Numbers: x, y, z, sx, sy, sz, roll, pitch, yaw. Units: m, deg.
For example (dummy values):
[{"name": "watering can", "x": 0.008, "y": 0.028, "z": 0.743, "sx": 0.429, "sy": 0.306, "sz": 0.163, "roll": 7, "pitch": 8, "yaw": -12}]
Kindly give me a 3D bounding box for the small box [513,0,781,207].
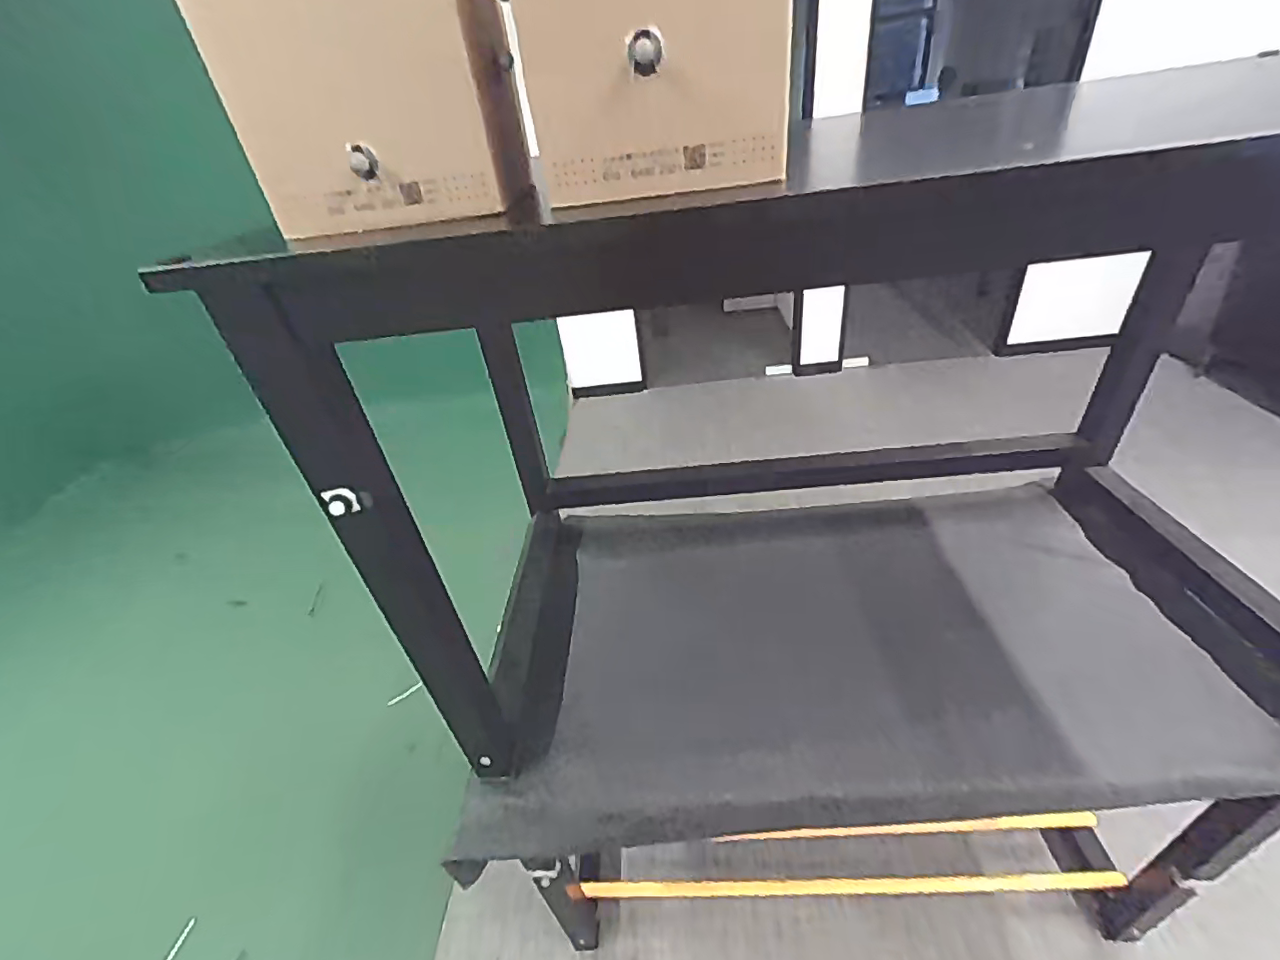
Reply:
[{"name": "small box", "x": 0.011, "y": -0.313, "z": 0.407, "sx": 0.168, "sy": 0.176, "sz": 0.179, "roll": -4, "pitch": 35, "yaw": 5}]
